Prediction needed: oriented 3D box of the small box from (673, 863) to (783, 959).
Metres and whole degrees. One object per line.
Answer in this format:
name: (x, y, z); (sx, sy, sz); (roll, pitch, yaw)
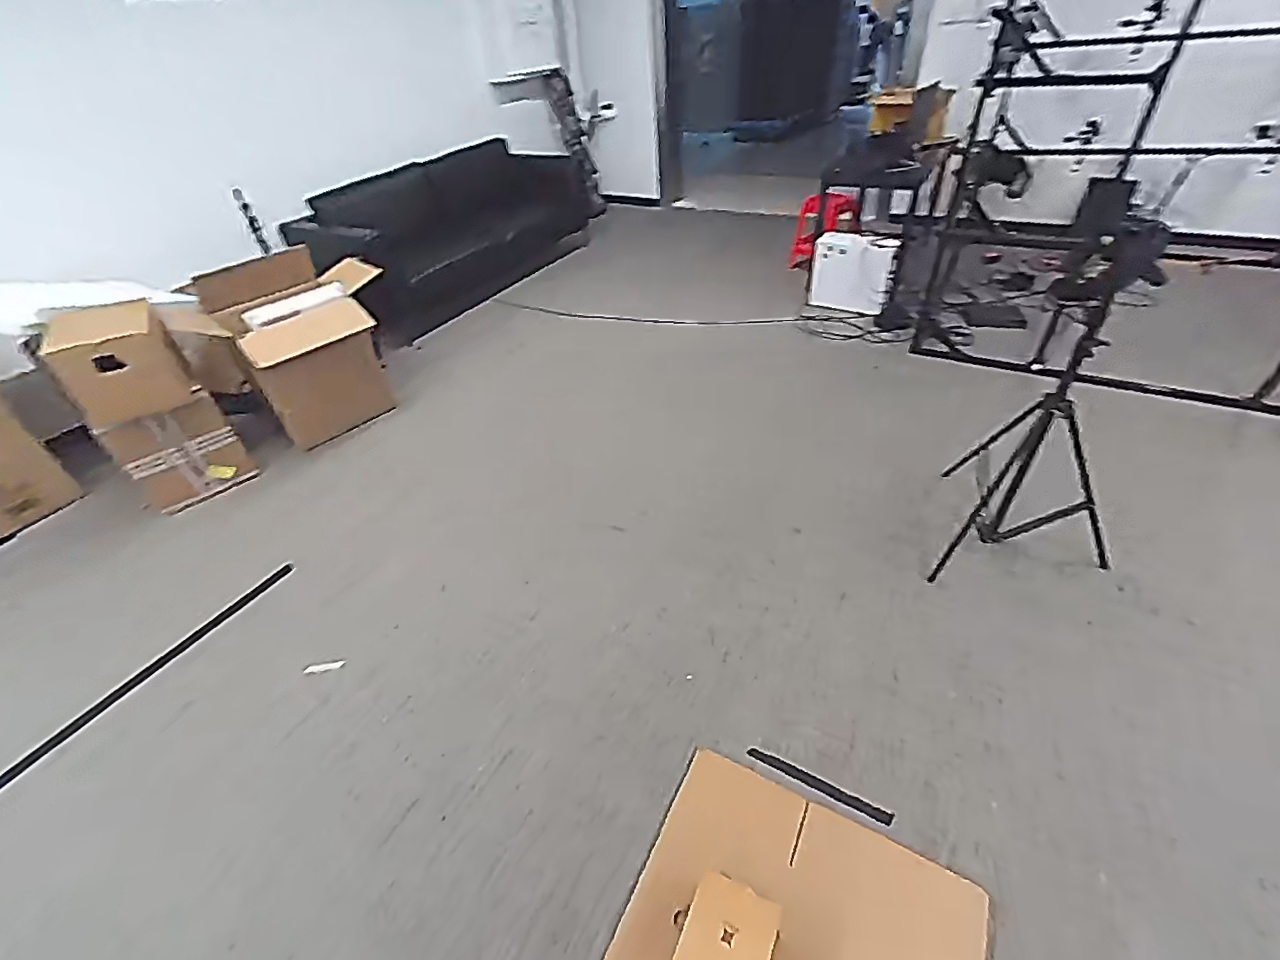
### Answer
small box: (0.179, 0.928, 1.088); (0.168, 0.176, 0.179); (16, 45, 23)
